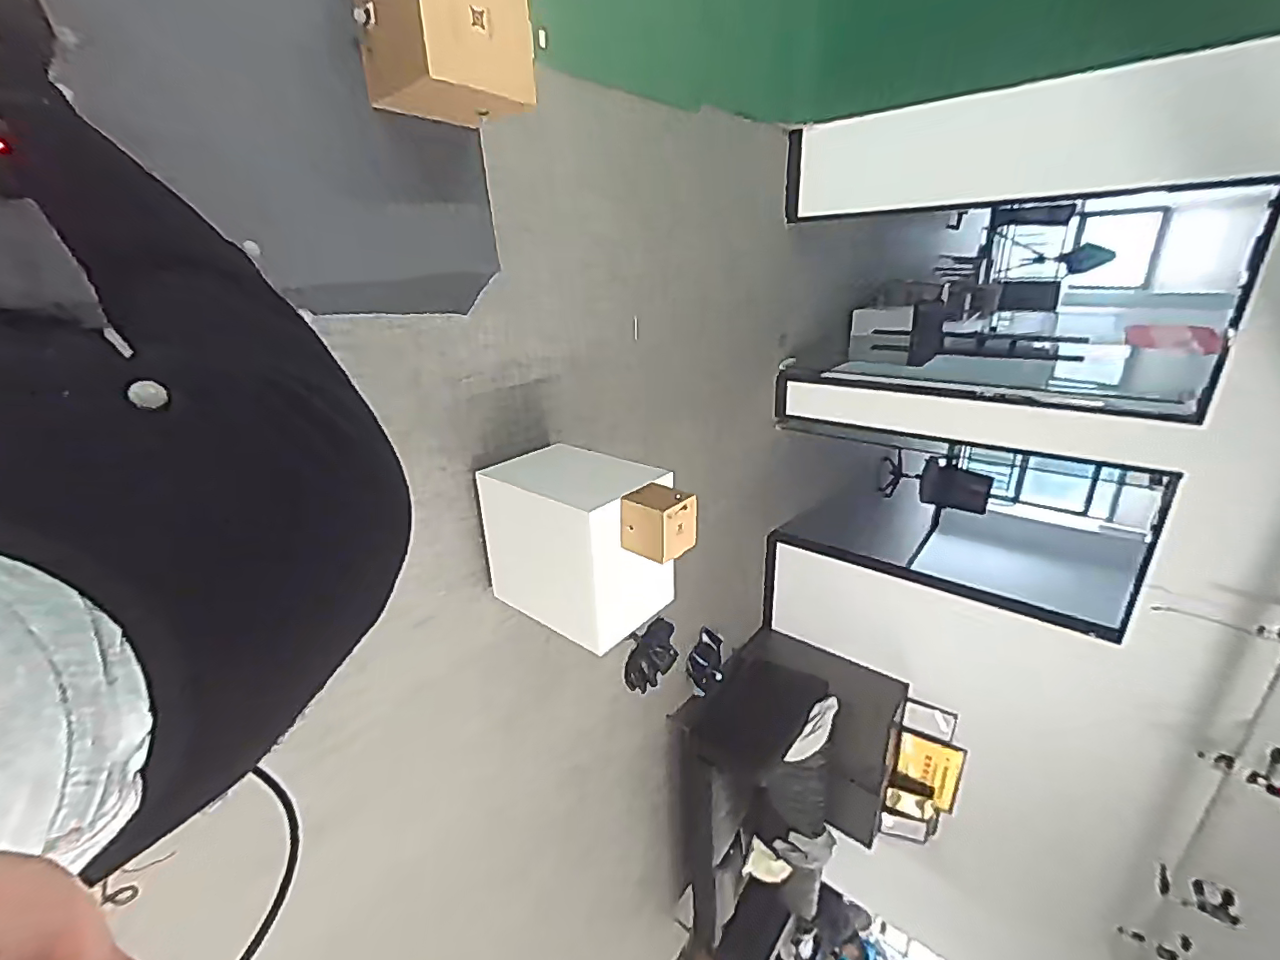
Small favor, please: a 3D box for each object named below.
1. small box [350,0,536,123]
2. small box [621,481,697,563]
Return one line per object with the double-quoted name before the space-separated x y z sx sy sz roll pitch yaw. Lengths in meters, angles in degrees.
"small box" -0.269 -0.611 0.743 0.179 0.176 0.168 -24 120 -44
"small box" 0.055 0.121 1.647 0.168 0.176 0.179 -25 123 -46
